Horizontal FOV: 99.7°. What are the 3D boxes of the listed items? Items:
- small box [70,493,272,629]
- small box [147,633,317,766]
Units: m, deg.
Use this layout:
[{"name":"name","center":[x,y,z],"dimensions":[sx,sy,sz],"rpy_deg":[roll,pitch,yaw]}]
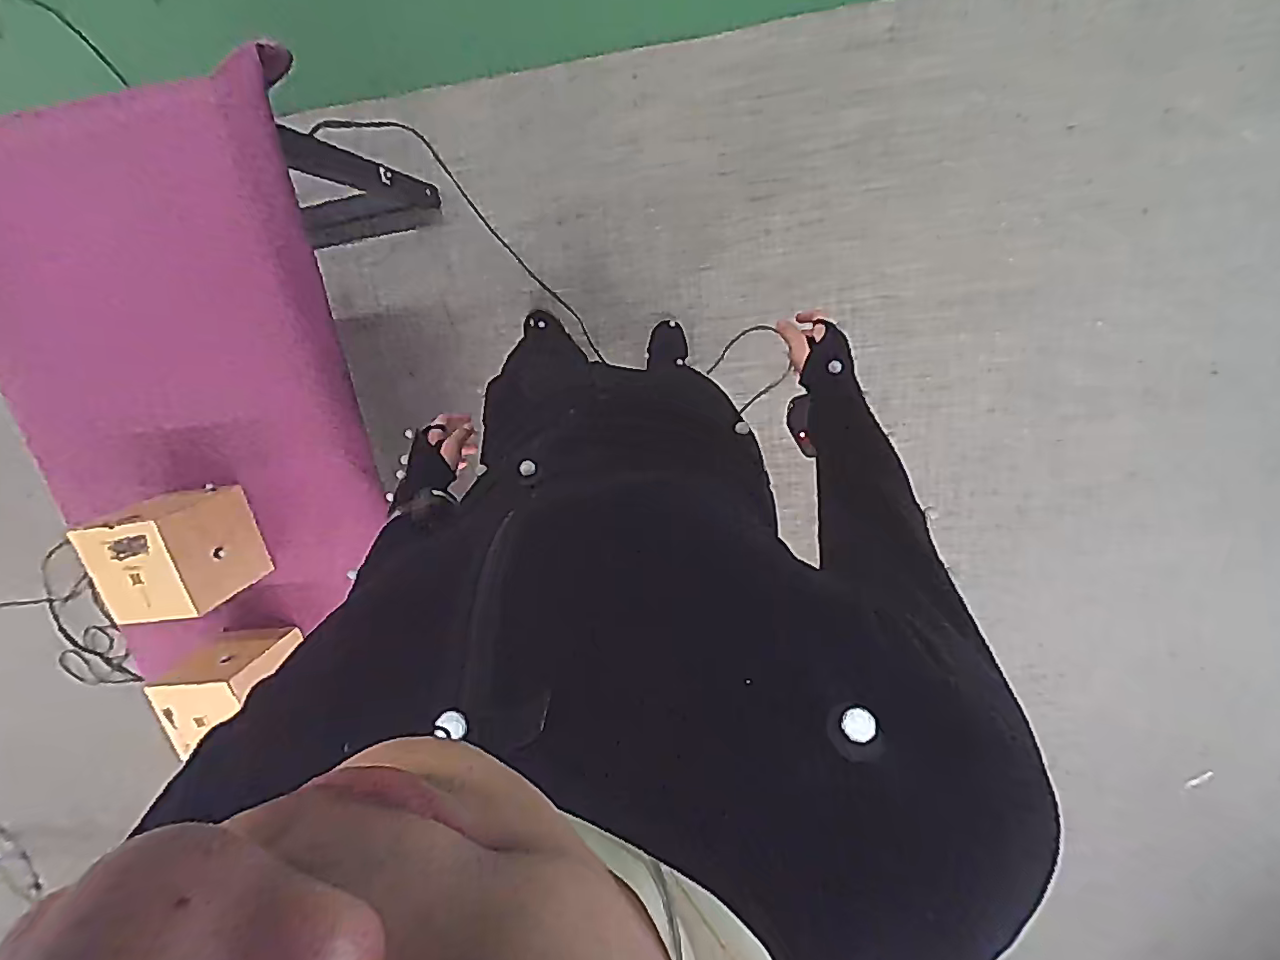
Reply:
[{"name":"small box","center":[-0.792,0.131,0.935],"dimensions":[0.168,0.176,0.179],"rpy_deg":[-7,108,9]},{"name":"small box","center":[-0.749,0.406,1.020],"dimensions":[0.179,0.176,0.168],"rpy_deg":[-8,106,8]}]
